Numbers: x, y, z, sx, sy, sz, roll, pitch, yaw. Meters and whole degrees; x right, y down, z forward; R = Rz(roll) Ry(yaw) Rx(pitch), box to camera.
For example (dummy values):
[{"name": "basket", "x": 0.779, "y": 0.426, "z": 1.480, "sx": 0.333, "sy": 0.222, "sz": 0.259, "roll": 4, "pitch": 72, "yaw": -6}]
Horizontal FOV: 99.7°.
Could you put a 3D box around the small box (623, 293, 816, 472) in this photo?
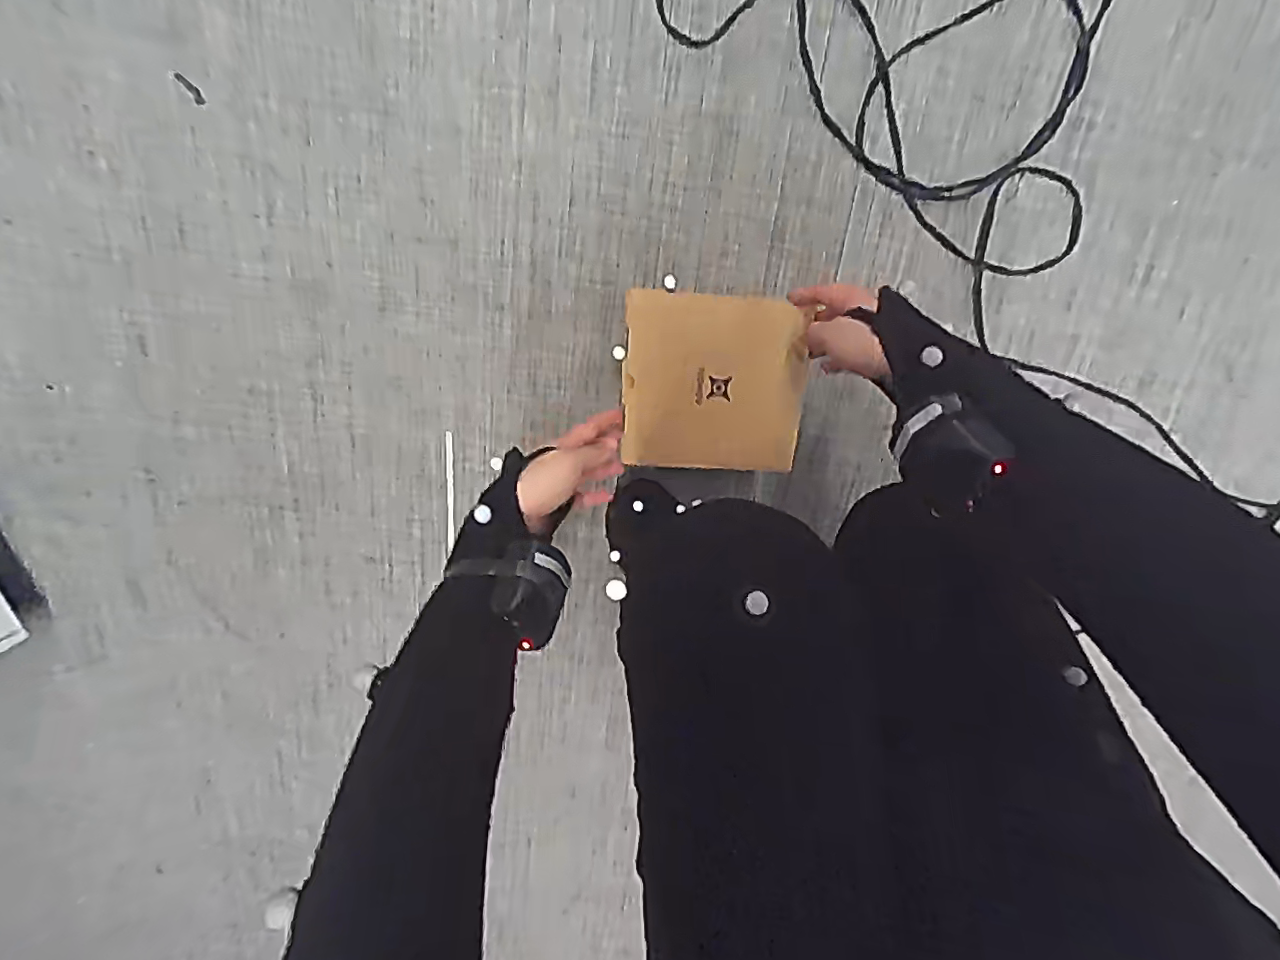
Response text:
[{"name": "small box", "x": 0.073, "y": -0.116, "z": 0.604, "sx": 0.179, "sy": 0.176, "sz": 0.168, "roll": 3, "pitch": 110, "yaw": -1}]
